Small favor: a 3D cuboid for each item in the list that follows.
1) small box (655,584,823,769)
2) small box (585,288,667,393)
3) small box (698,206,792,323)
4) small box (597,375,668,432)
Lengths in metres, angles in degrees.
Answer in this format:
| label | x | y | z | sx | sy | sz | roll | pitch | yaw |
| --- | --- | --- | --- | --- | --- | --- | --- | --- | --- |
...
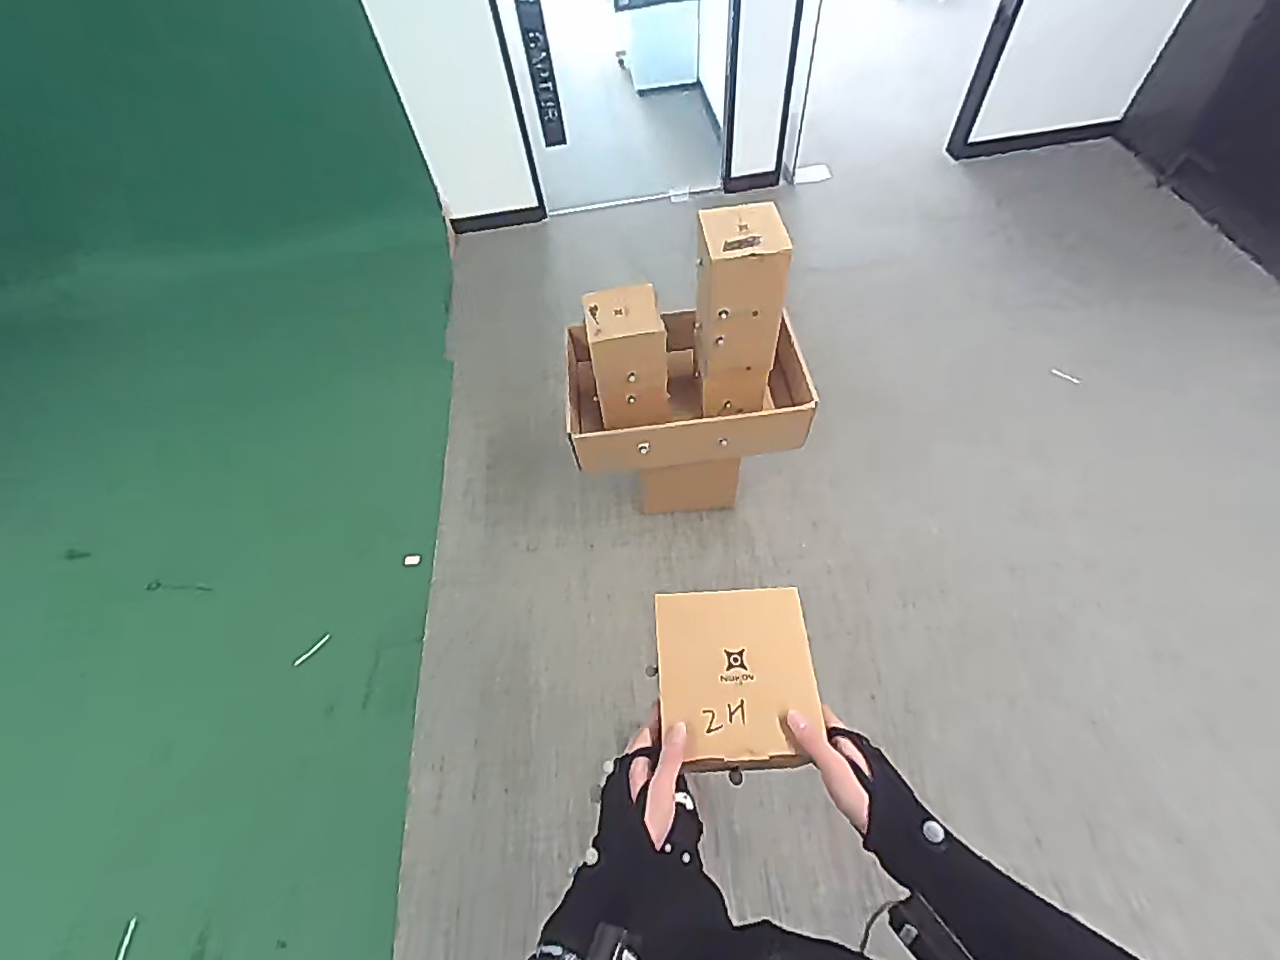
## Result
| label | x | y | z | sx | sy | sz | roll | pitch | yaw |
| --- | --- | --- | --- | --- | --- | --- | --- | --- | --- |
| small box | 0.101 | 0.238 | 0.644 | 0.168 | 0.176 | 0.179 | -3 | 58 | 2 |
| small box | -0.032 | -0.333 | 1.306 | 0.179 | 0.176 | 0.168 | -9 | 57 | -1 |
| small box | 0.218 | -0.457 | 1.170 | 0.168 | 0.176 | 0.179 | -6 | 56 | 0 |
| small box | -0.022 | -0.244 | 1.444 | 0.179 | 0.176 | 0.168 | -7 | 57 | -1 |
